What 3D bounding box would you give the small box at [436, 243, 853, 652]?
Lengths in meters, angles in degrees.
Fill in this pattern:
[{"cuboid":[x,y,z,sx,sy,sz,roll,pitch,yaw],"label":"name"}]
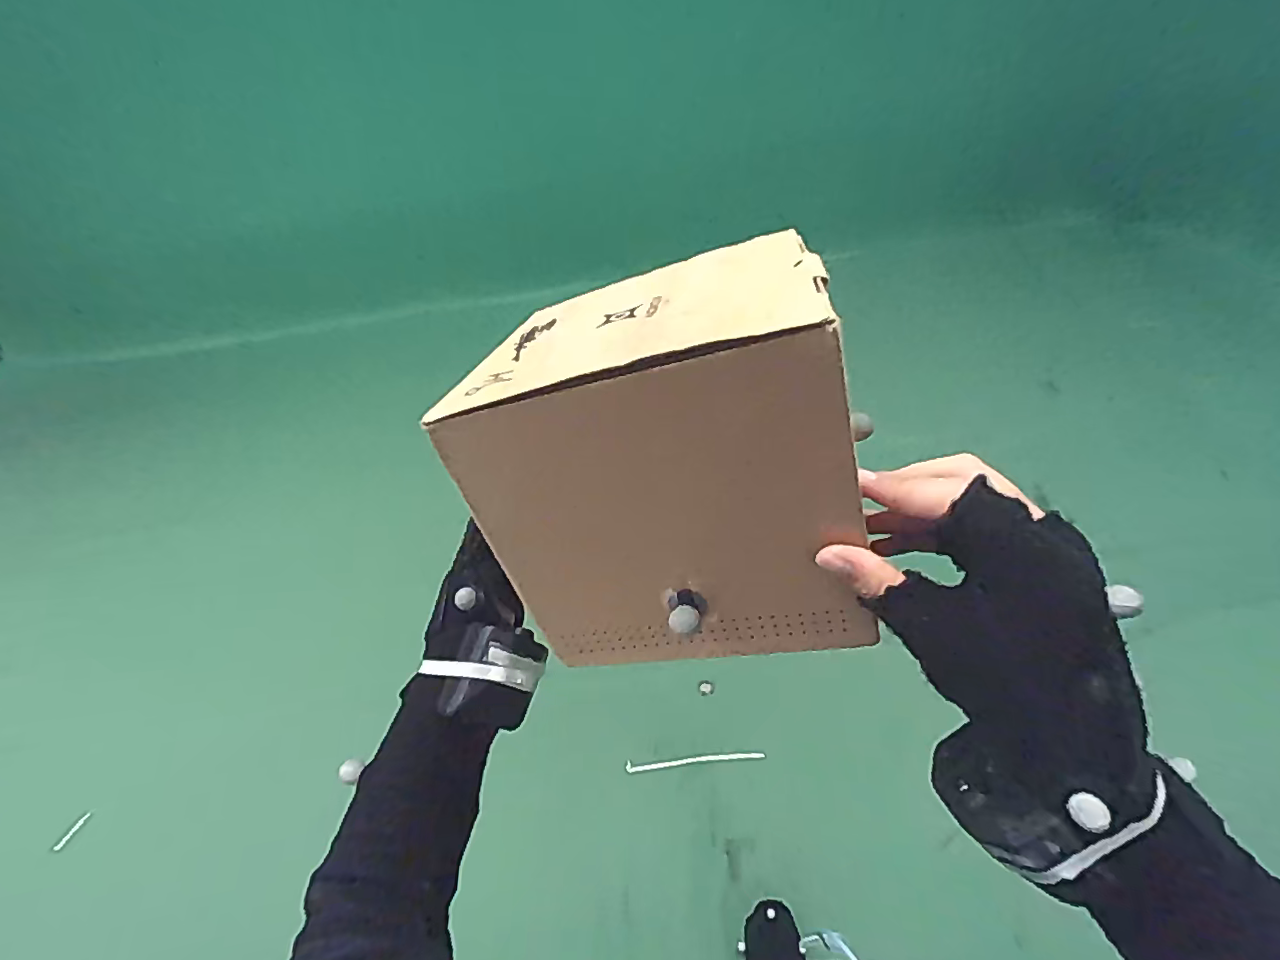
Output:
[{"cuboid":[0.024,-0.017,0.325,0.179,0.176,0.168,-10,31,17],"label":"small box"}]
